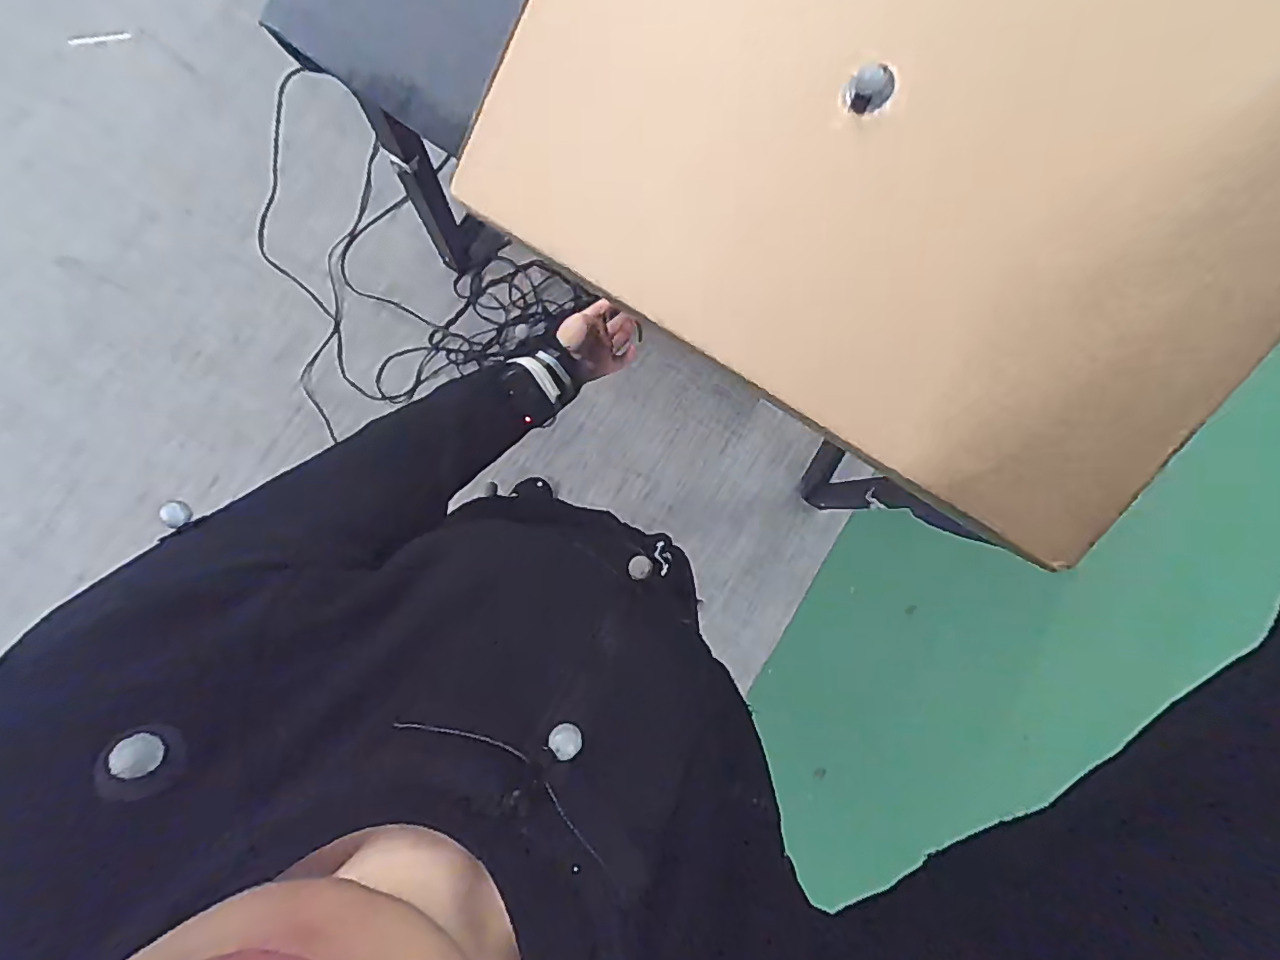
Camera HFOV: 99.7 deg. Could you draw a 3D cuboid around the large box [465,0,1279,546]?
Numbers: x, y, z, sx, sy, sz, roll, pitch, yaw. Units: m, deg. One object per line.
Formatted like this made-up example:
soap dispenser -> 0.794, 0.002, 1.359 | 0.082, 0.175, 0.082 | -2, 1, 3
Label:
large box -> 0.162, -0.210, 0.405 | 0.408, 0.320, 0.320 | 33, 105, 12
